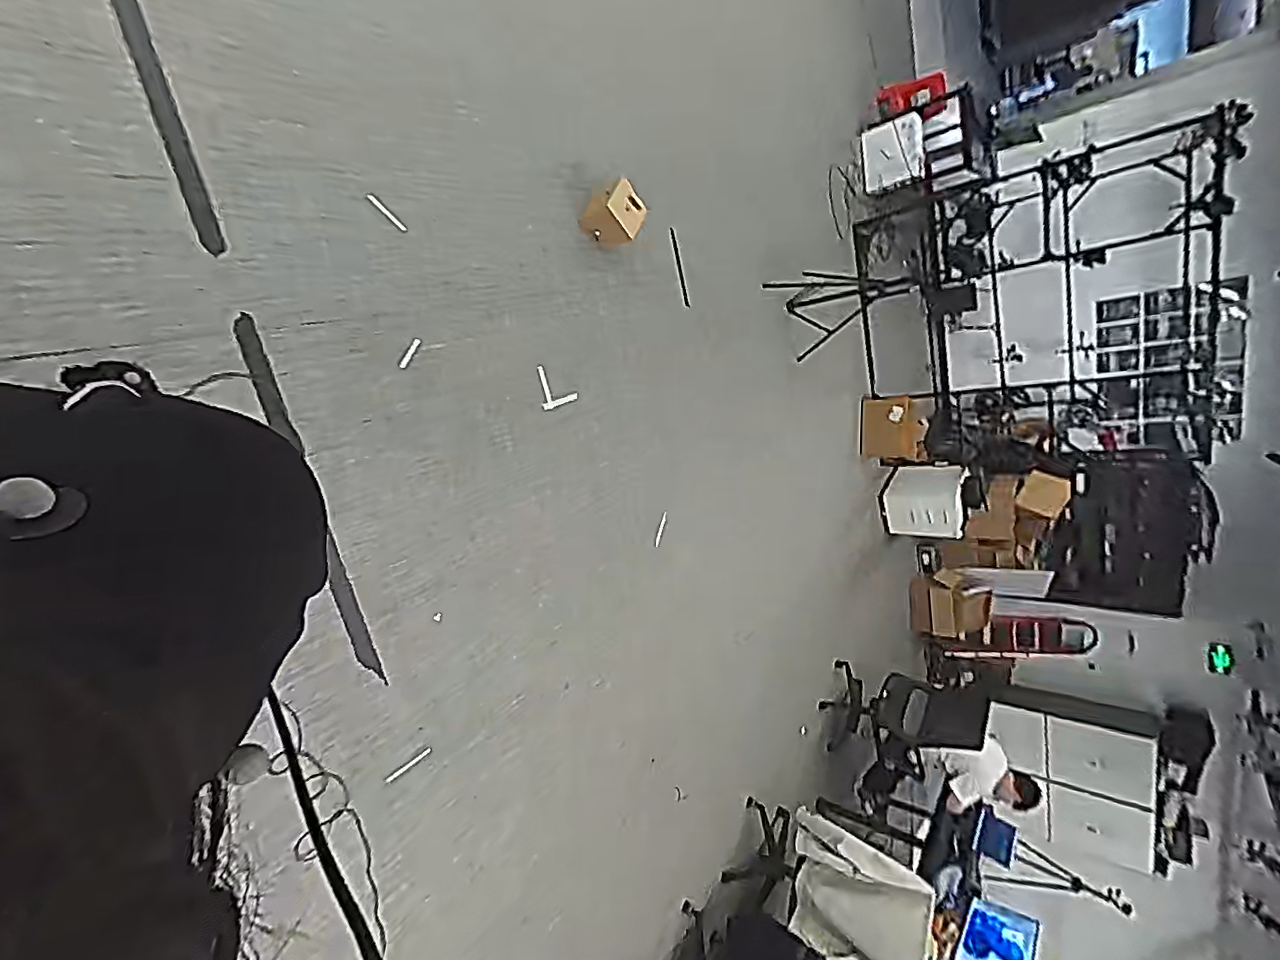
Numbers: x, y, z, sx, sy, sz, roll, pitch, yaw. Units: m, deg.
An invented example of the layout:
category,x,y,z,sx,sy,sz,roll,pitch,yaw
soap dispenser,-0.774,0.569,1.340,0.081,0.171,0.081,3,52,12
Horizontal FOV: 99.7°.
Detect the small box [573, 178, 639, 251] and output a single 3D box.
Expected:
category,x,y,z,sx,sy,sz,roll,pitch,yaw
small box,-0.136,-1.039,2.124,0.168,0.176,0.179,44,60,-40
